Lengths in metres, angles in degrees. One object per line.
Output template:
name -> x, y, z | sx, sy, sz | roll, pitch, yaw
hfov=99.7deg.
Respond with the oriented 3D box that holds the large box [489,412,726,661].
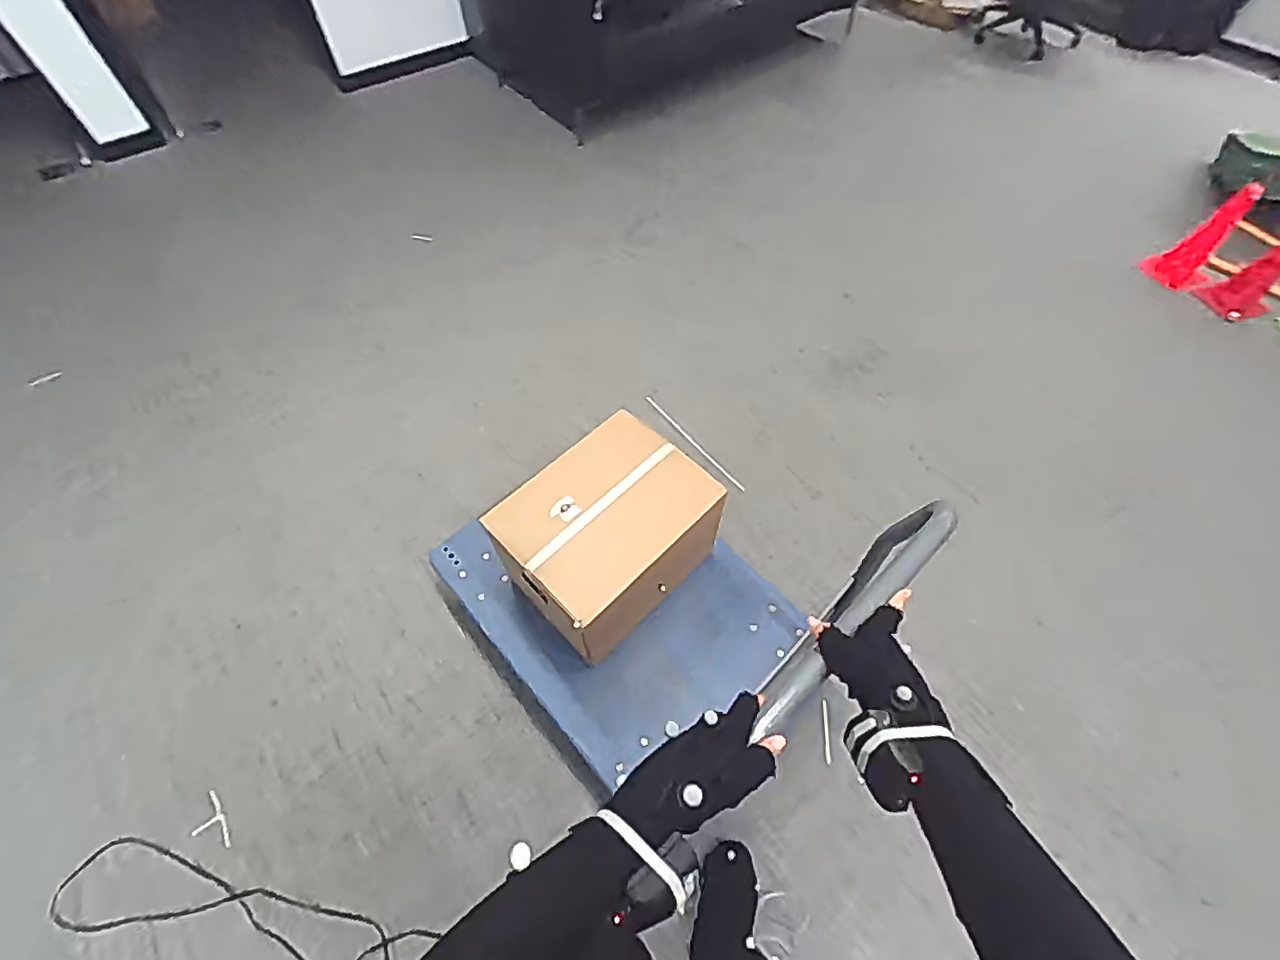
large box -> -0.061, 0.130, 1.227 | 0.320, 0.320, 0.408 | 39, 67, 22
